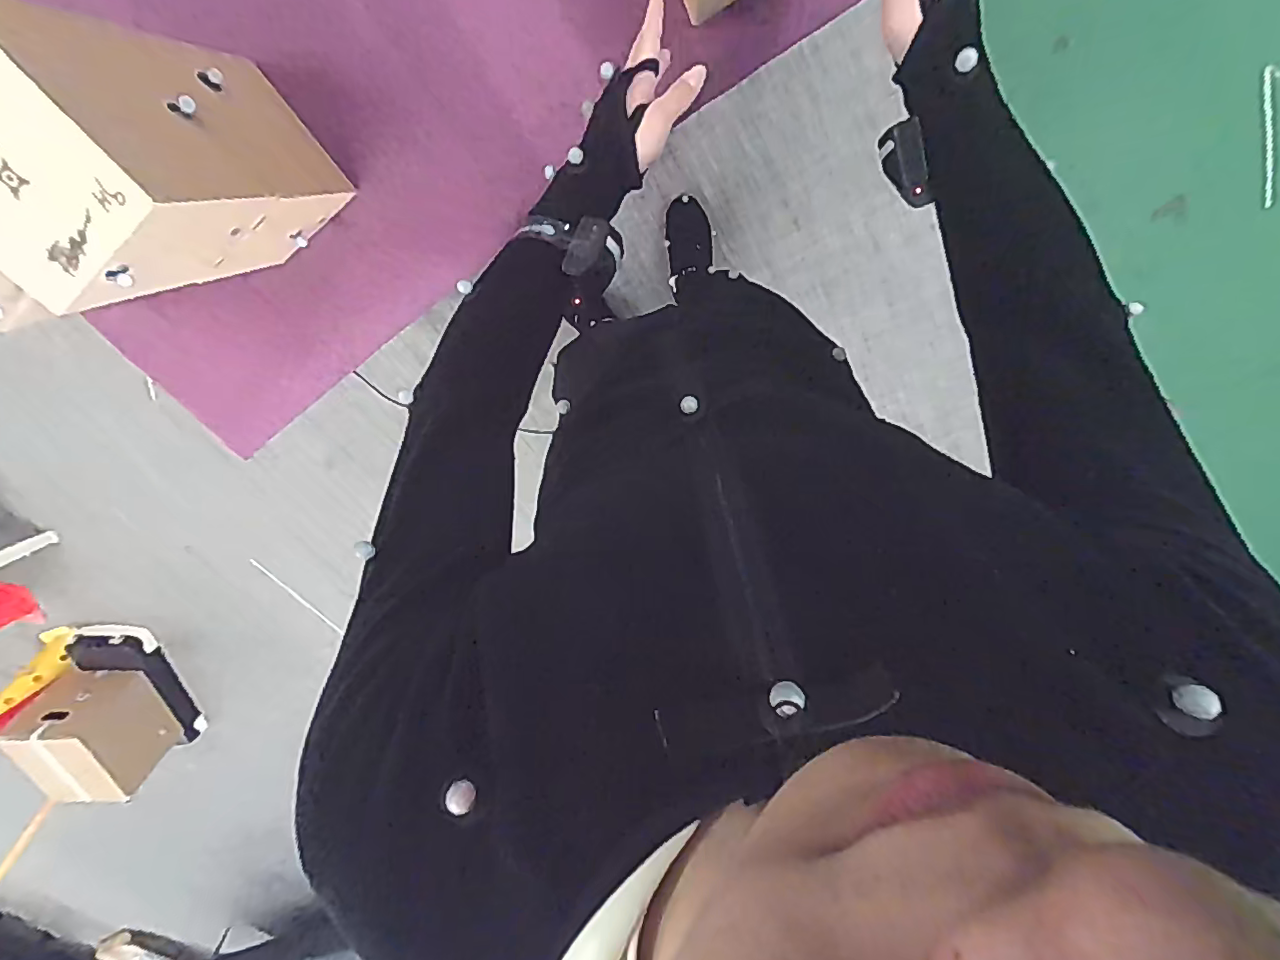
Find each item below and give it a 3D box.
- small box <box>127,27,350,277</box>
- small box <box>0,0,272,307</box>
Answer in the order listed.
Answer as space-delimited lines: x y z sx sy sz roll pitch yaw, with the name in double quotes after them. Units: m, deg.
-0.497 -0.374 0.641 0.168 0.176 0.179 -29 116 18 "small box"
-0.504 -0.292 0.499 0.168 0.176 0.179 -29 114 18 "small box"
